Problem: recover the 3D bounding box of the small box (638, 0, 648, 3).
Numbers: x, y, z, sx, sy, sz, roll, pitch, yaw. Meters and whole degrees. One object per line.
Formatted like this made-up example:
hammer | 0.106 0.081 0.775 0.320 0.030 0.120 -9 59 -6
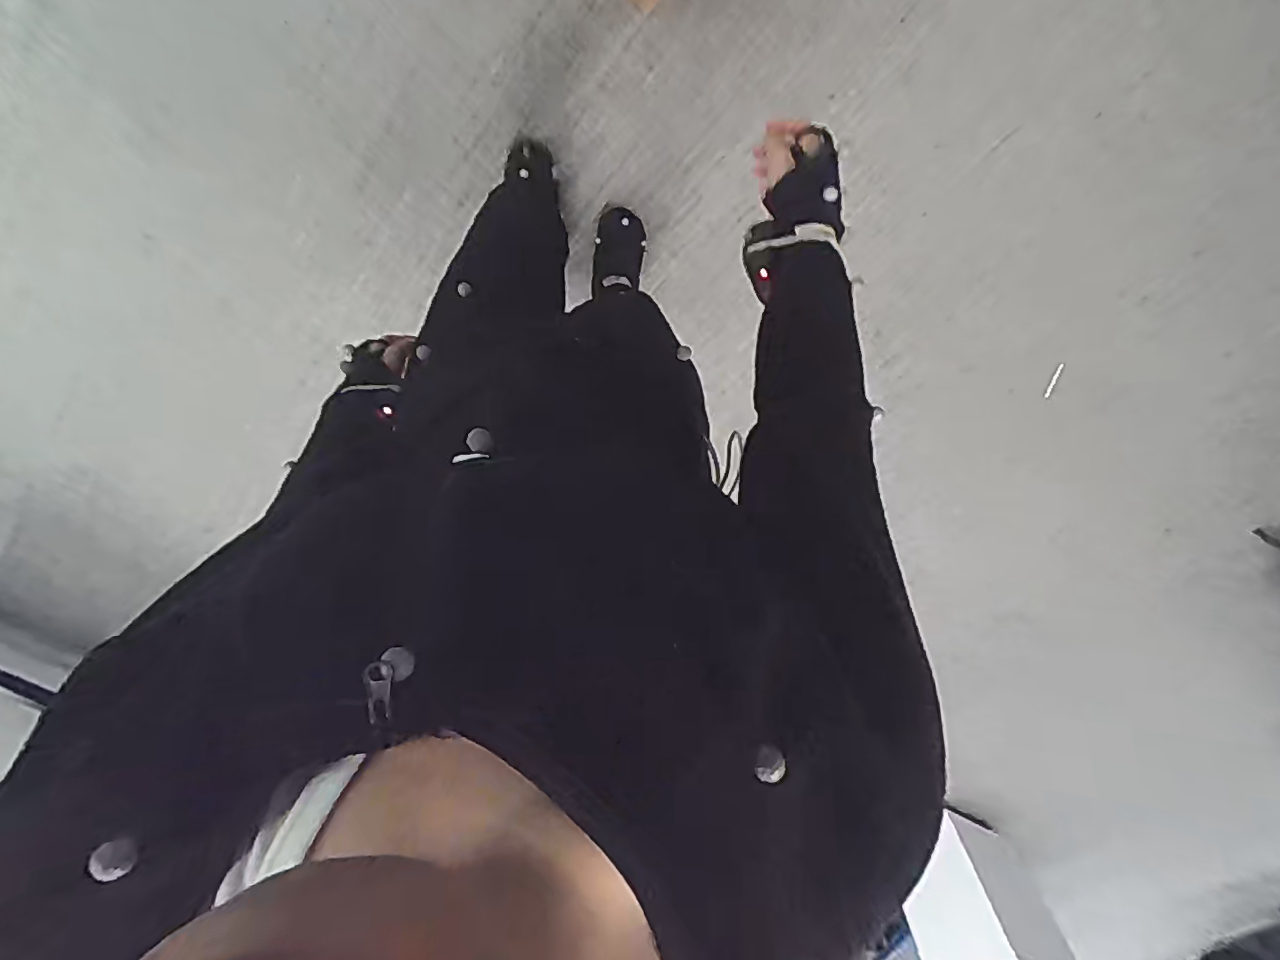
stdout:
small box | 0.000 -0.979 0.933 0.179 0.176 0.168 37 115 -20
